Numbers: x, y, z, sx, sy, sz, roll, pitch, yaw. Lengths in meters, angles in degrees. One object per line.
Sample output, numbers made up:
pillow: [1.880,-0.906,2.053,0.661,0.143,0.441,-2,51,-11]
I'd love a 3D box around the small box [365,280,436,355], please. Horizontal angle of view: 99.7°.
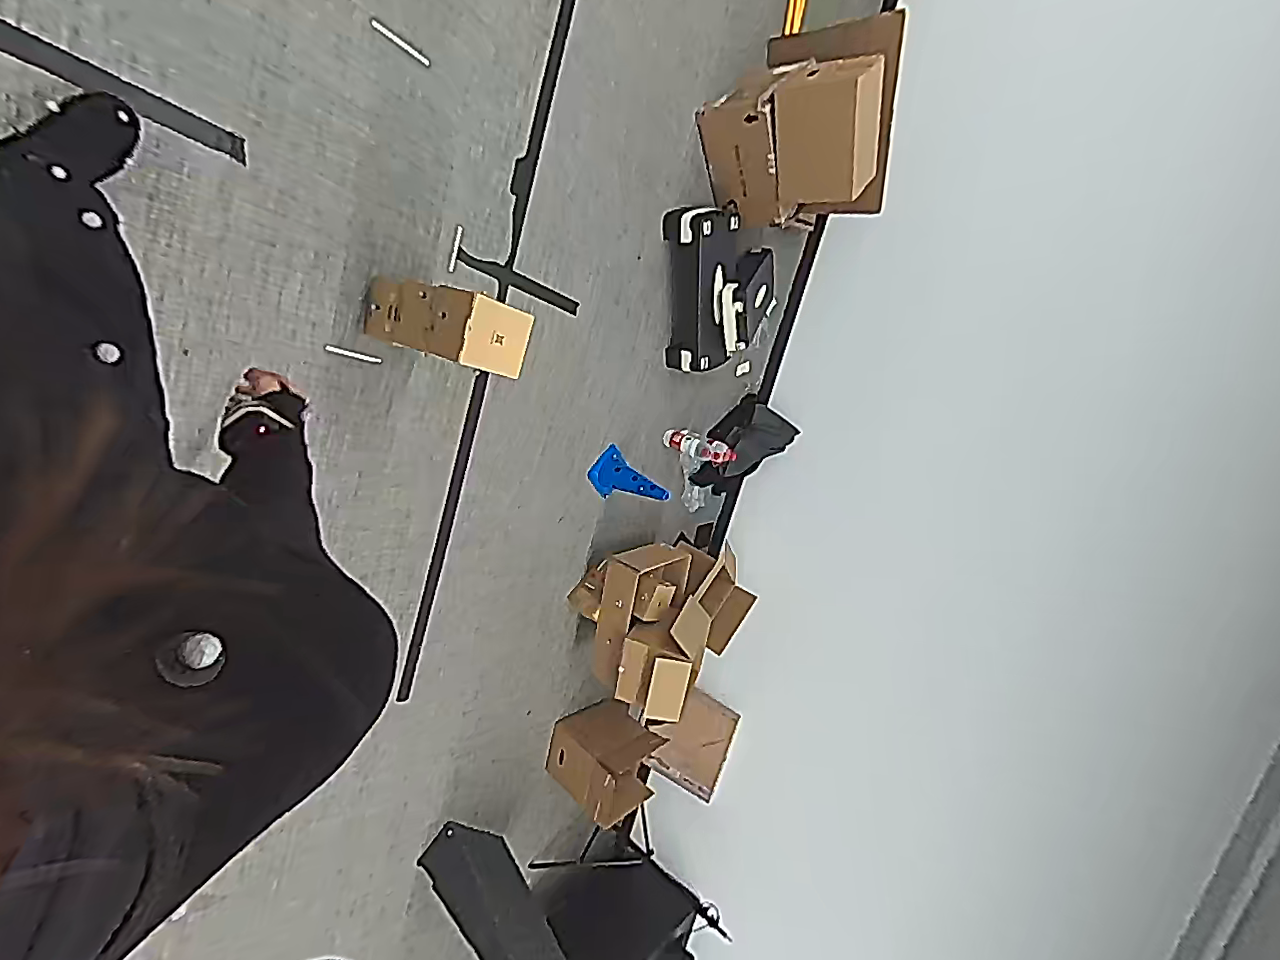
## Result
small box: [-0.649,-0.459,1.536,0.179,0.176,0.168,2,107,-50]

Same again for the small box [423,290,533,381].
small box: [-0.403,-0.361,1.343,0.179,0.176,0.168,7,104,-52]
